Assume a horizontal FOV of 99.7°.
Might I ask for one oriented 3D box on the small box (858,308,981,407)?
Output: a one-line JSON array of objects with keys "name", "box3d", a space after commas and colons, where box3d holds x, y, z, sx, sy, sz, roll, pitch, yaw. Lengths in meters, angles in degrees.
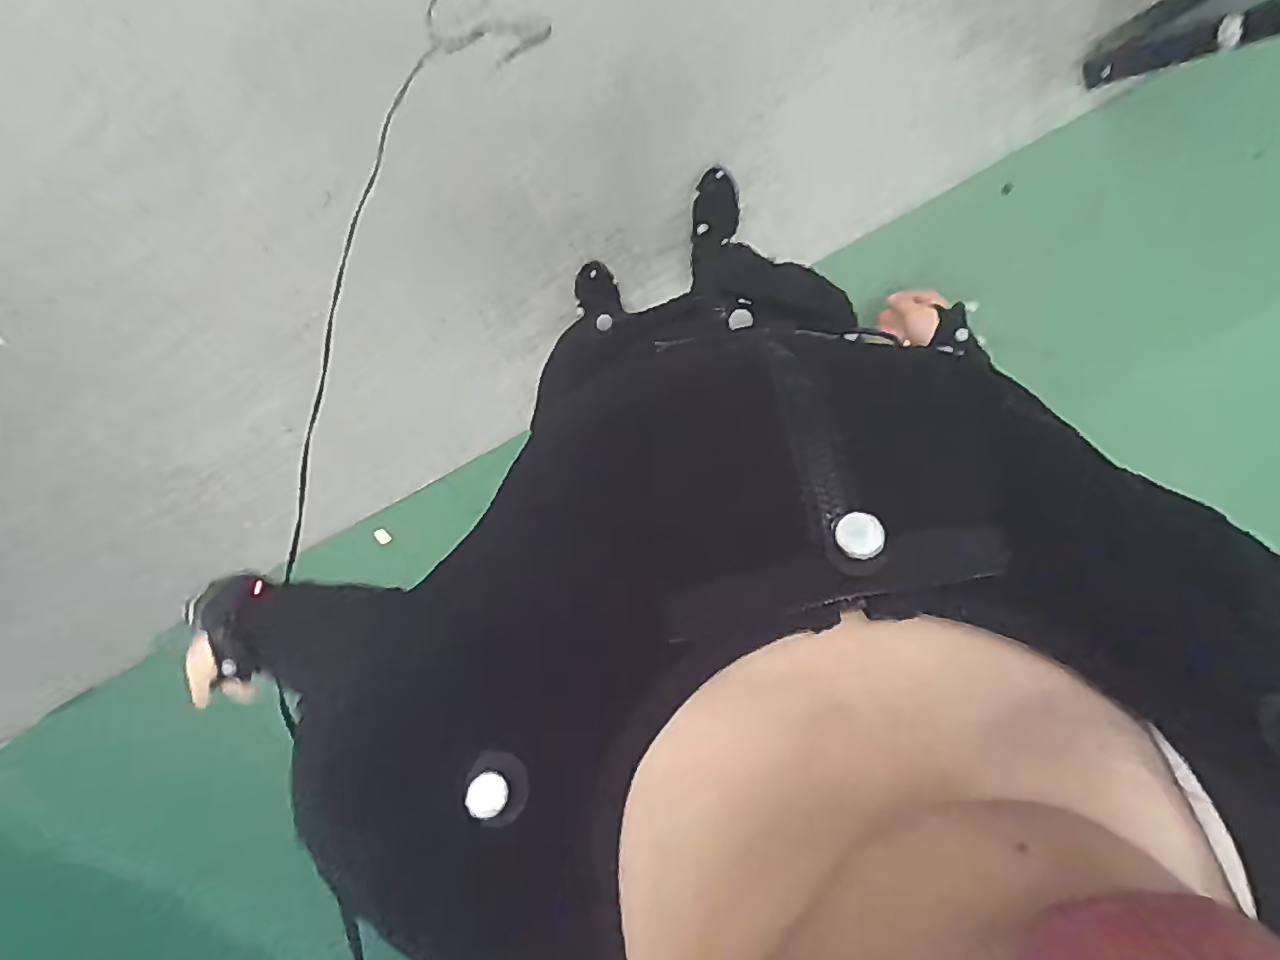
[{"name": "small box", "box3d": [0.689, -0.314, 1.353, 0.179, 0.176, 0.168, 25, 111, -14]}]
